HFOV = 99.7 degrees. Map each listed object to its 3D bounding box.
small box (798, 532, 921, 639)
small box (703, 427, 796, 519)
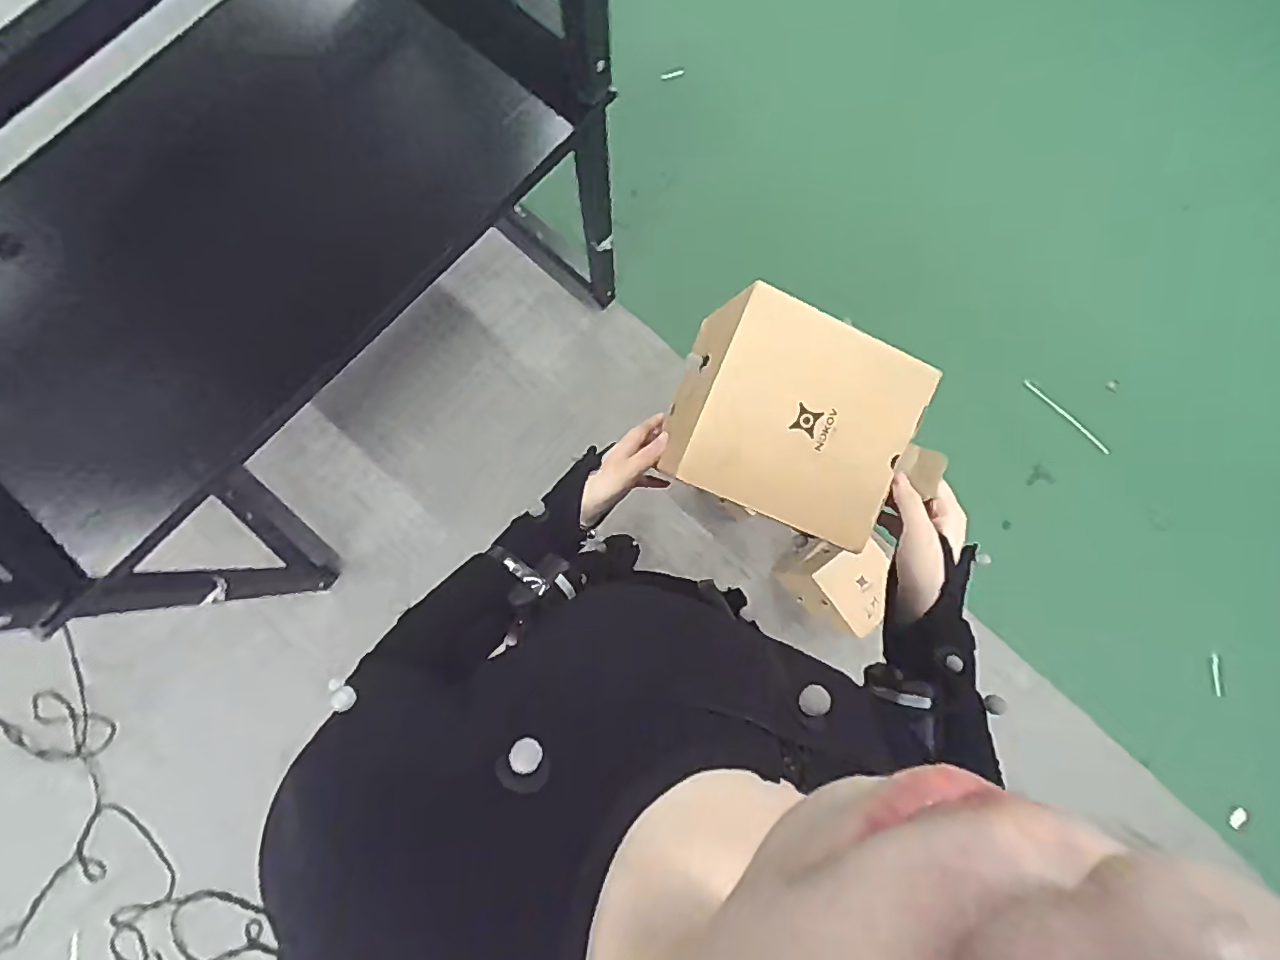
[{"bbox_3d":[0.498,0.241,1.258,0.168,0.176,0.179,-36,84,-4],"label":"small box"},{"bbox_3d":[0.286,-0.009,1.456,0.168,0.176,0.179,41,83,5],"label":"small box"}]
